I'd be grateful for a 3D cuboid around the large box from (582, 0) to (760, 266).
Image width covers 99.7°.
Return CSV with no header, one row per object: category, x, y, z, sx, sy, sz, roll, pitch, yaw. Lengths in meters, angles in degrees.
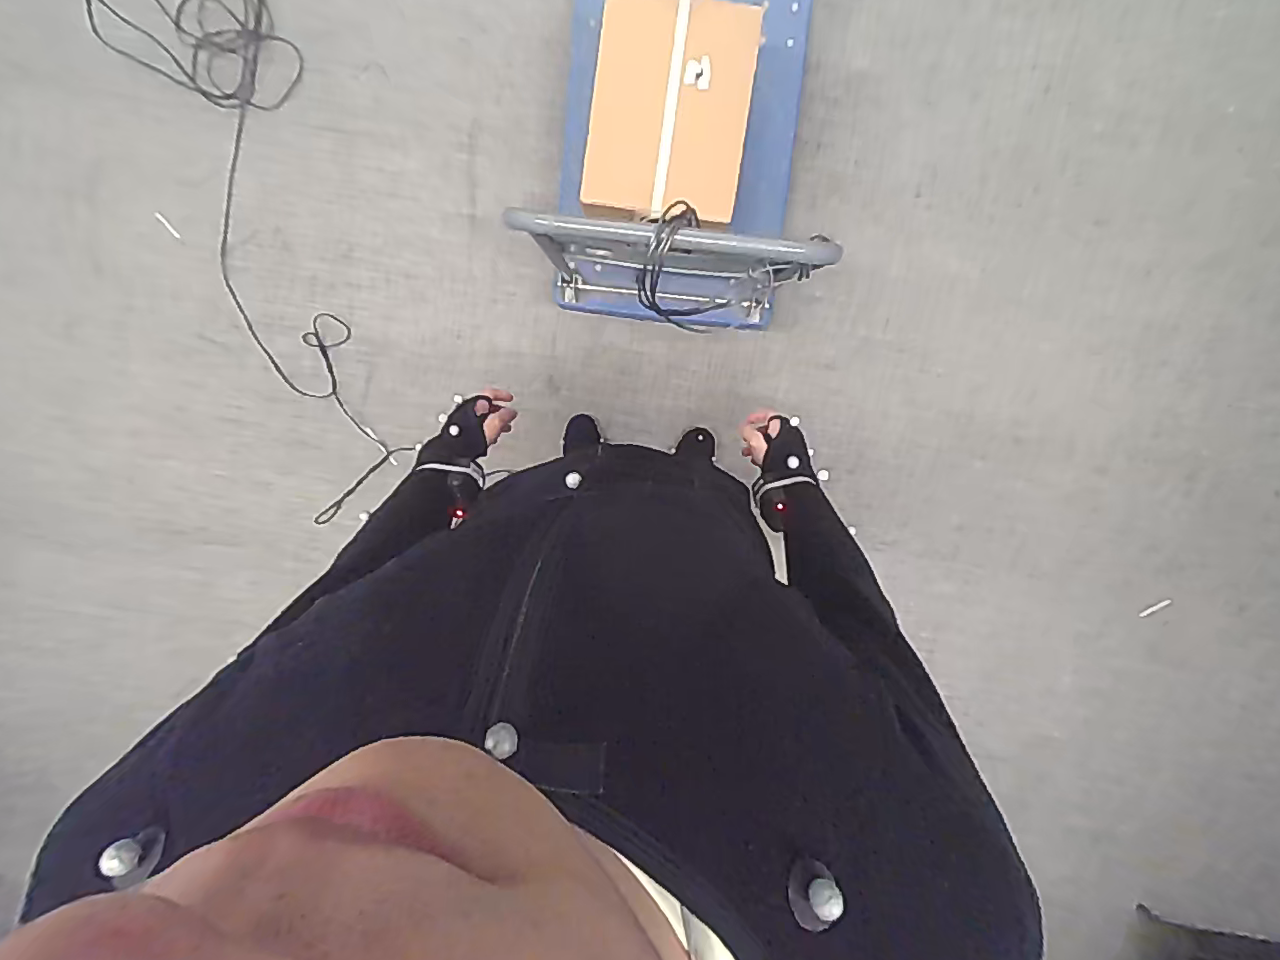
large box,0.064,-0.748,1.228,0.320,0.320,0.408,9,96,0
